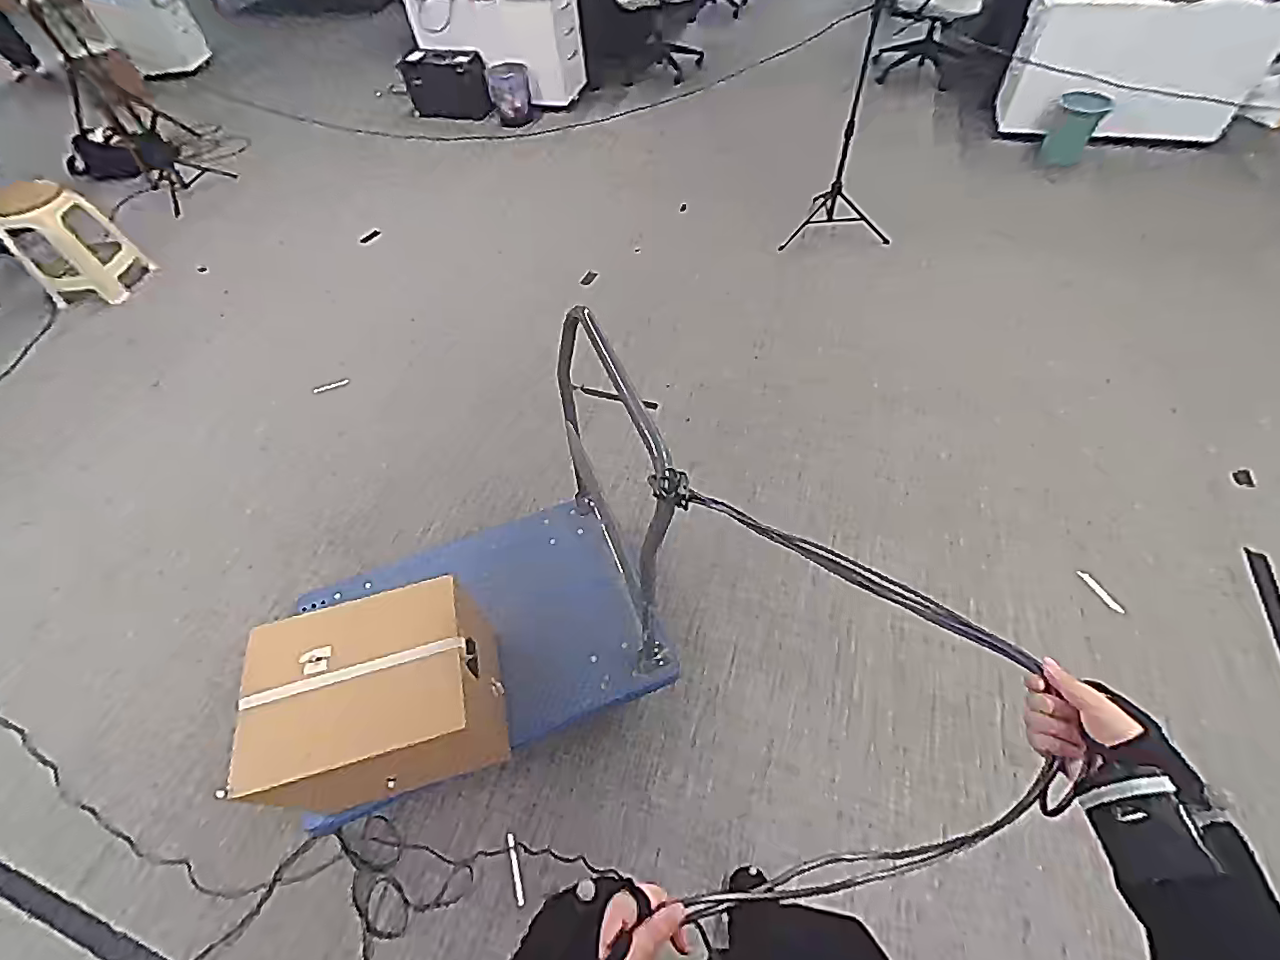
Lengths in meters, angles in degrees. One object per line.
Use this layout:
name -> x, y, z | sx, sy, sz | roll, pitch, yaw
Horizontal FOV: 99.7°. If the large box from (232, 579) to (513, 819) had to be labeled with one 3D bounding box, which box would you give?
large box -> -0.516, 0.457, 1.119 | 0.408, 0.320, 0.320 | -16, 53, -6
